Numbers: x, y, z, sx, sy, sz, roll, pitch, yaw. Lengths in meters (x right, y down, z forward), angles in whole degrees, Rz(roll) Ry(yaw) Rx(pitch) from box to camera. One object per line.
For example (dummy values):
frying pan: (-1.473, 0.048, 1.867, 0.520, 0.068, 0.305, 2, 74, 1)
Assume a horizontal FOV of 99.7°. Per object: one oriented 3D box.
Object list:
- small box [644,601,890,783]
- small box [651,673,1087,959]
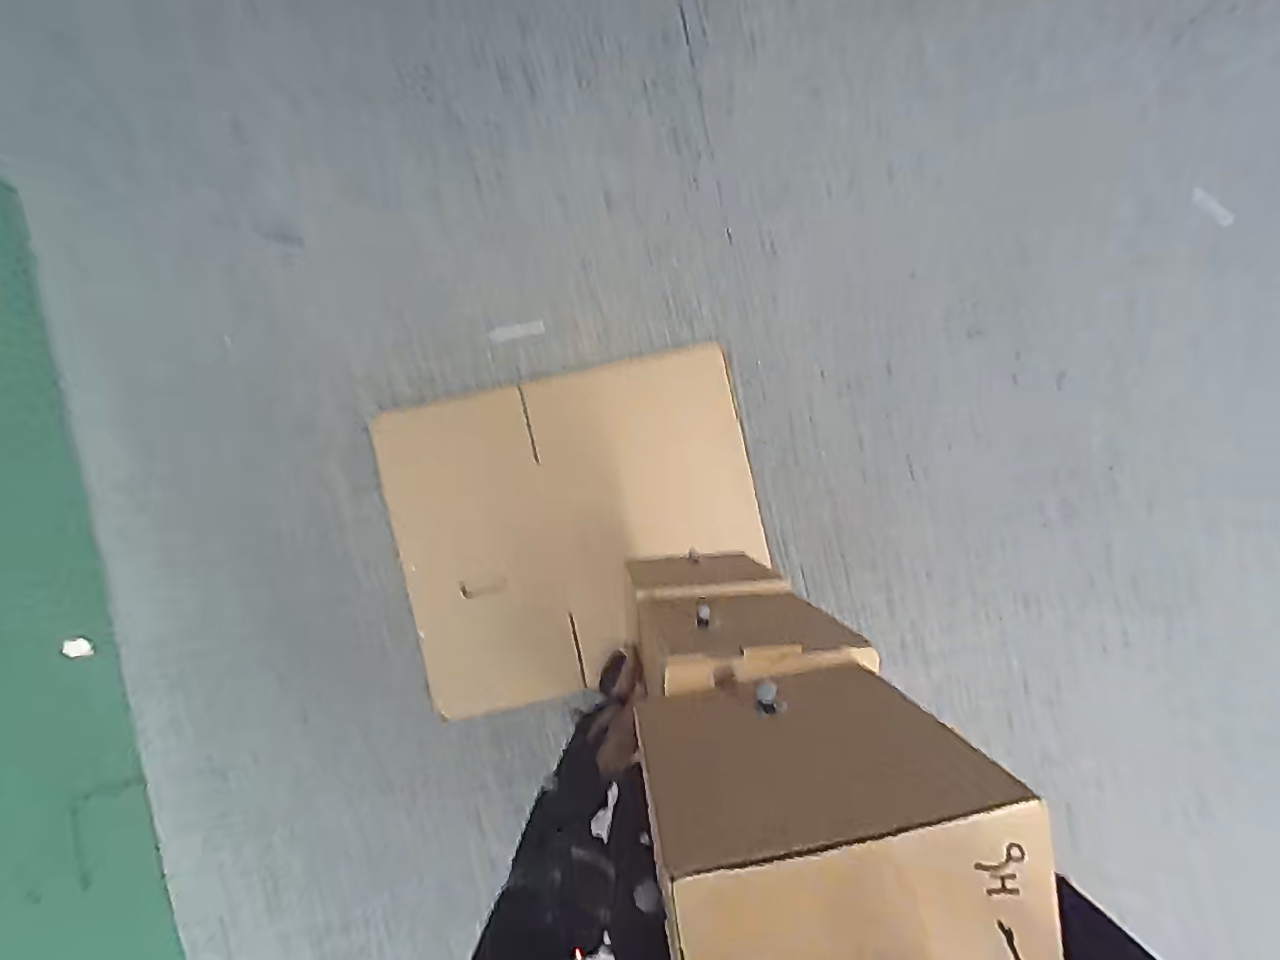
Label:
small box: (0.094, 0.209, 0.470, 0.168, 0.176, 0.179, -1, 93, -6)
small box: (0.103, 0.230, 0.307, 0.179, 0.176, 0.168, -9, 93, -4)
